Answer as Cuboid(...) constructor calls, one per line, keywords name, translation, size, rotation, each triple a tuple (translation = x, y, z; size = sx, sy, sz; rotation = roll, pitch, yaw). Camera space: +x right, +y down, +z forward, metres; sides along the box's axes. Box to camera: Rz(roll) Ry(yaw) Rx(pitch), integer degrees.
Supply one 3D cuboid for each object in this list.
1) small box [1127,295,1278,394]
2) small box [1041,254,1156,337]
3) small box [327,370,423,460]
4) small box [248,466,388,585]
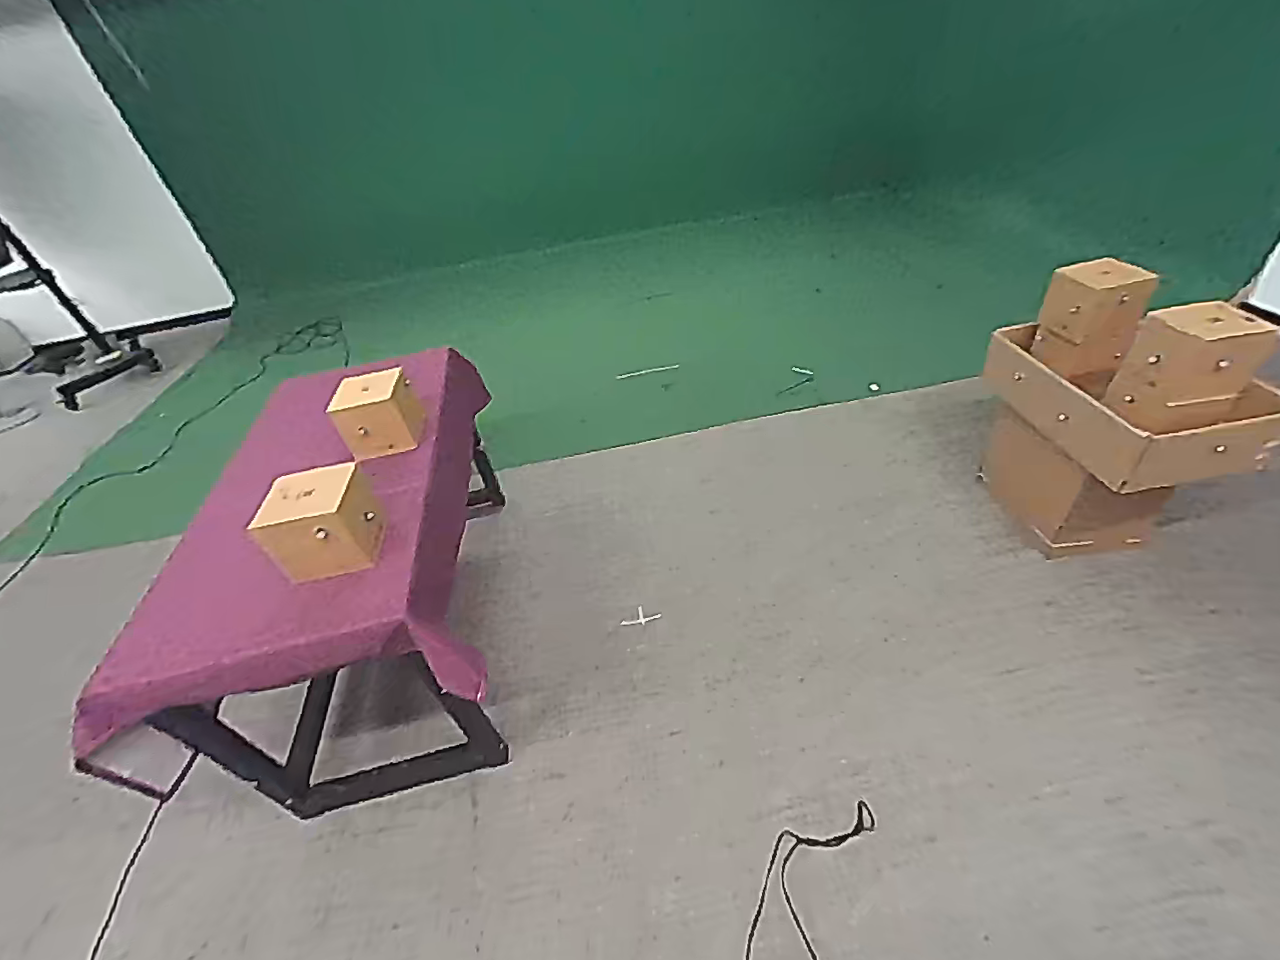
Cuboid(name="small box", translation=(1.349, -0.326, 1.320), size=(0.179, 0.176, 0.168), rotation=(-10, 41, 3))
Cuboid(name="small box", translation=(1.313, -0.533, 1.569), size=(0.179, 0.176, 0.168), rotation=(-13, 41, -3))
Cuboid(name="small box", translation=(-0.711, -0.172, 1.475), size=(0.168, 0.176, 0.179), rotation=(-13, 40, -2))
Cuboid(name="small box", translation=(-0.666, 0.098, 1.147), size=(0.179, 0.176, 0.168), rotation=(-12, 39, -1))
